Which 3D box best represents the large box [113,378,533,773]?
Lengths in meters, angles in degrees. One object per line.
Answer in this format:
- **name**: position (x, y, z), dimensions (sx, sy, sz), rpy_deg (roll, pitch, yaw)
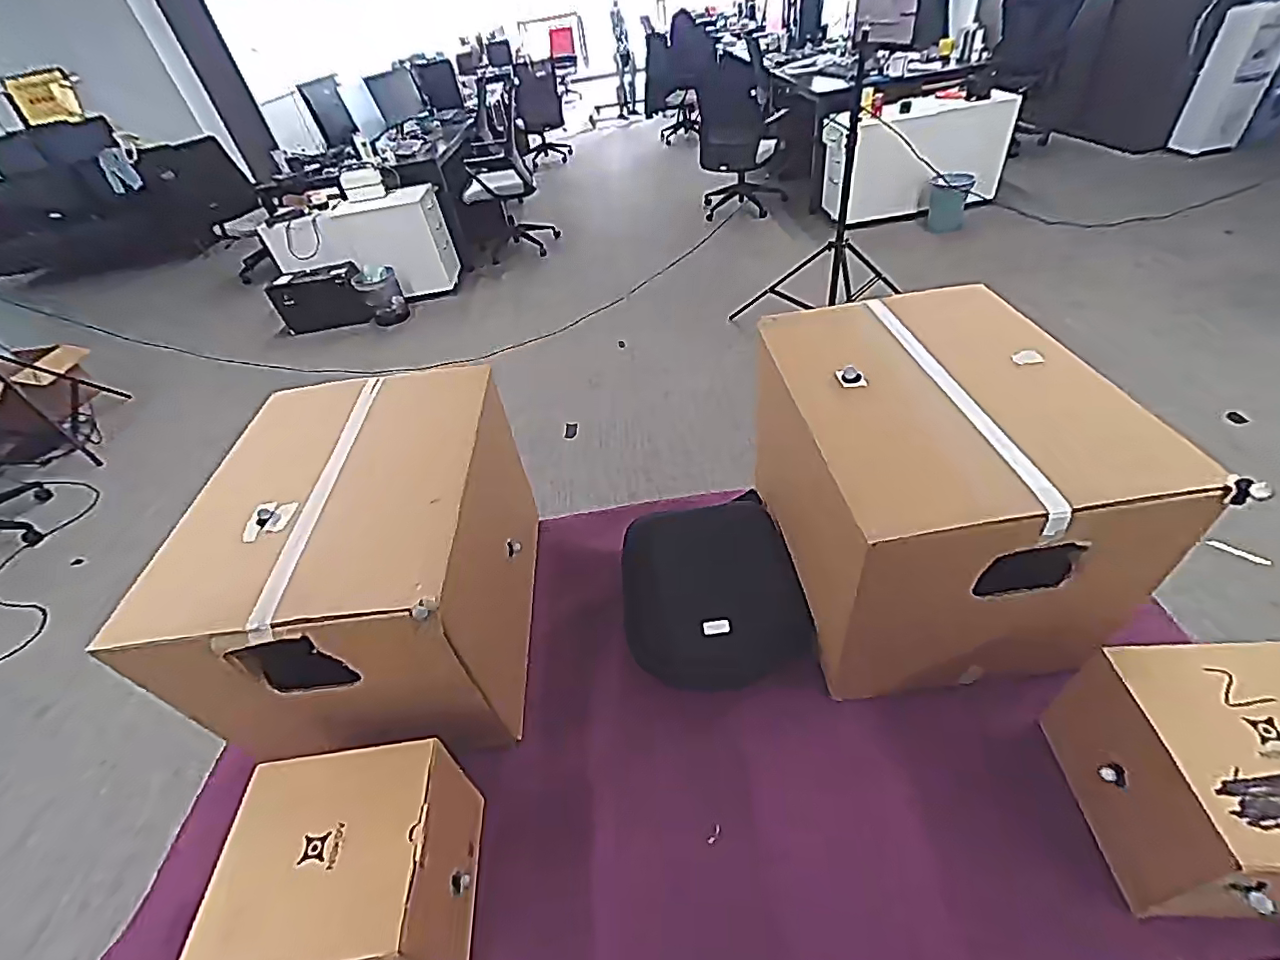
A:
- **large box**: position (-0.332, 0.116, 0.729), dimensions (0.320, 0.320, 0.408), rpy_deg (-8, 45, 1)
